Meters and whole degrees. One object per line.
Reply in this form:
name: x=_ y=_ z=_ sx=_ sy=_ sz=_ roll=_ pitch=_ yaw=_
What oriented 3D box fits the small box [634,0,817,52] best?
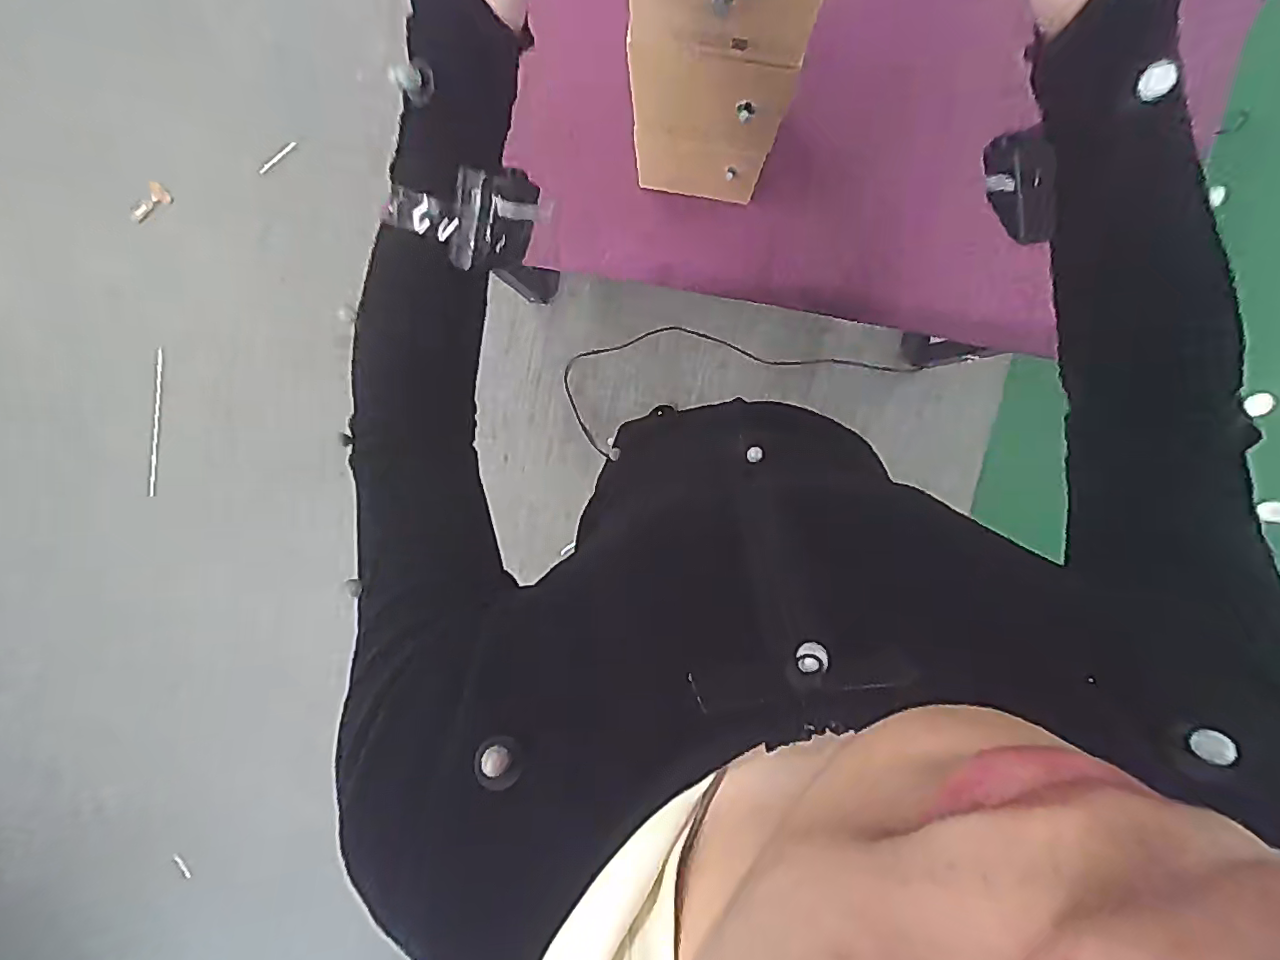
small box: x=0.082 y=-0.491 z=0.431 sx=0.168 sy=0.176 sz=0.179 roll=9 pitch=97 yaw=1

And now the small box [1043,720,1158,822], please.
small box: x=1.323 y=0.837 z=1.570 sx=0.168 sy=0.176 sz=0.179 roll=14 pitch=99 yaw=2

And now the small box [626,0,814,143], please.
small box: x=0.089 y=-0.503 z=0.594 sx=0.179 sy=0.176 sz=0.168 roll=10 pitch=97 yaw=2
